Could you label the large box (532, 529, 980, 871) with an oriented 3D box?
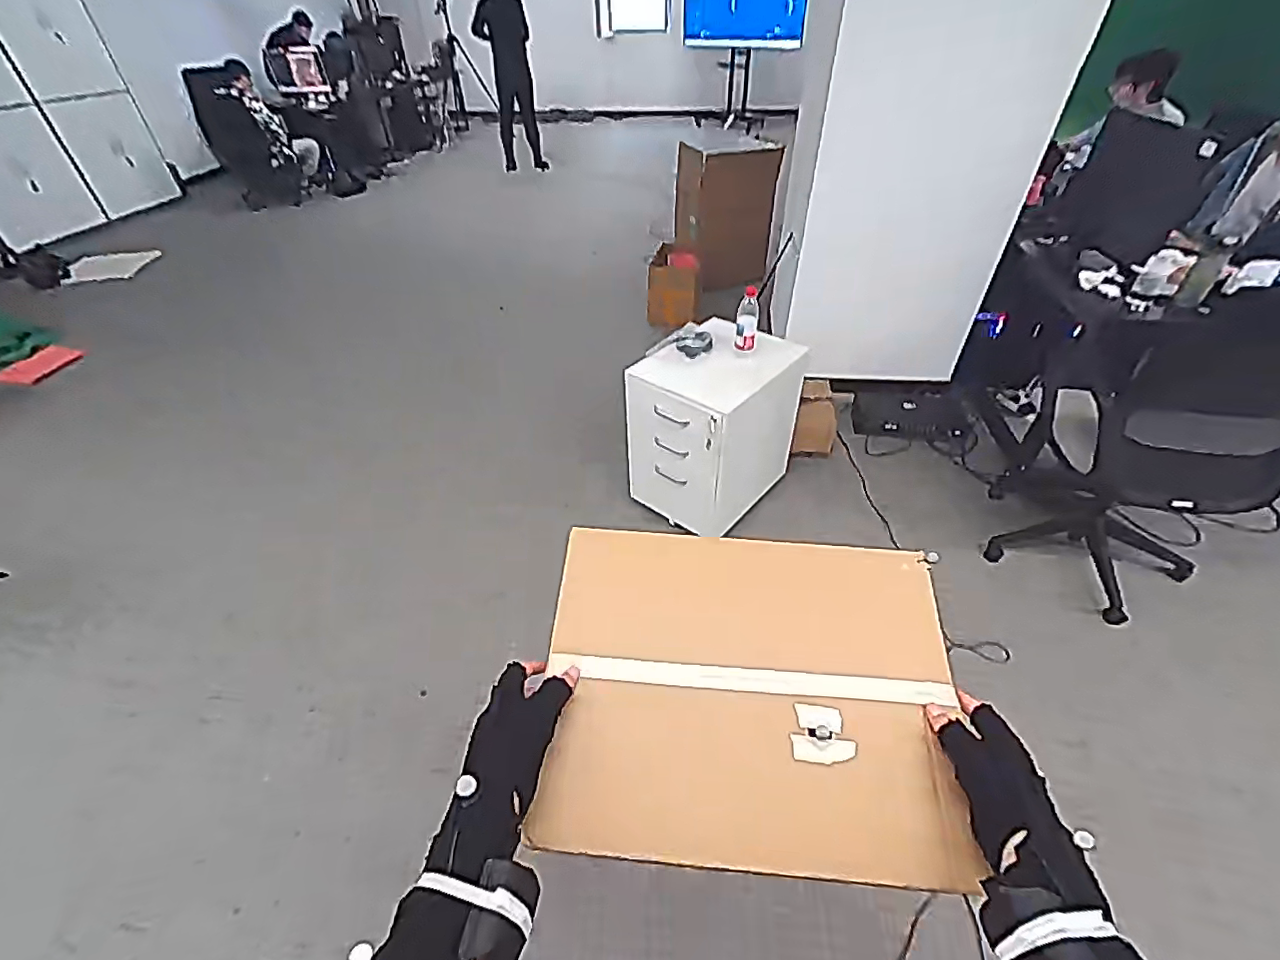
[{"bbox_3d":[0.108,0.277,0.679,0.408,0.320,0.320,4,58,3],"label":"large box"}]
